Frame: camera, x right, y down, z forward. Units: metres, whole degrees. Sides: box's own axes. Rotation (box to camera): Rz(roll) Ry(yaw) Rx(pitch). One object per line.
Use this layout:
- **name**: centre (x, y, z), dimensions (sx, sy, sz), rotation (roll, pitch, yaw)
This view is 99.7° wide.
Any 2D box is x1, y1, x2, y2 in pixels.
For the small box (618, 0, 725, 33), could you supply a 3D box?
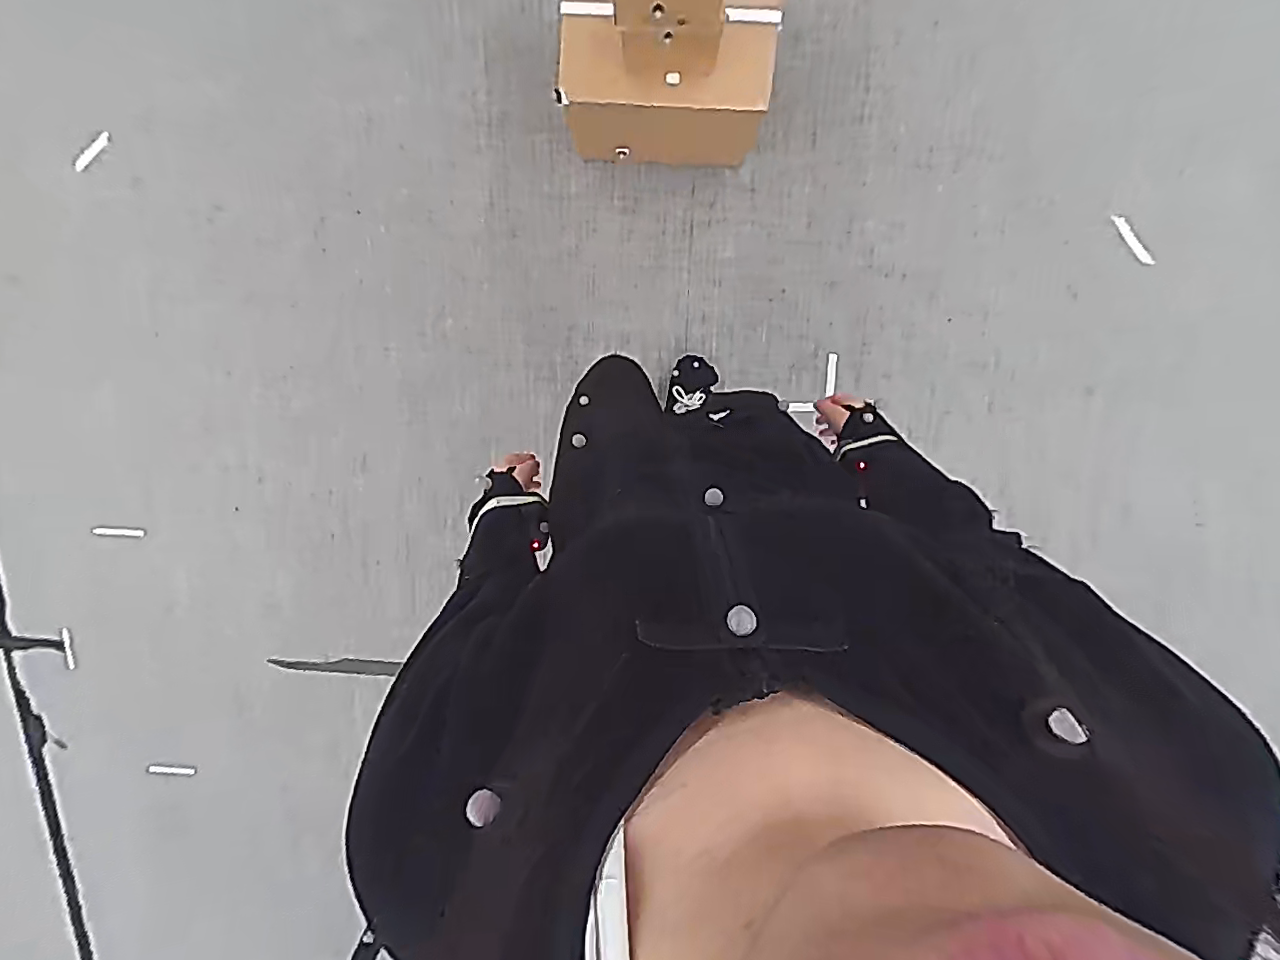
- **small box**: centre (0.047, -0.785, 0.766), dimensions (0.168, 0.176, 0.179), rotation (3, 104, 2)

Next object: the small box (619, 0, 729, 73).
- **small box**: centre (0.058, -0.828, 0.922), dimensions (0.179, 0.176, 0.168), rotation (1, 103, 1)
